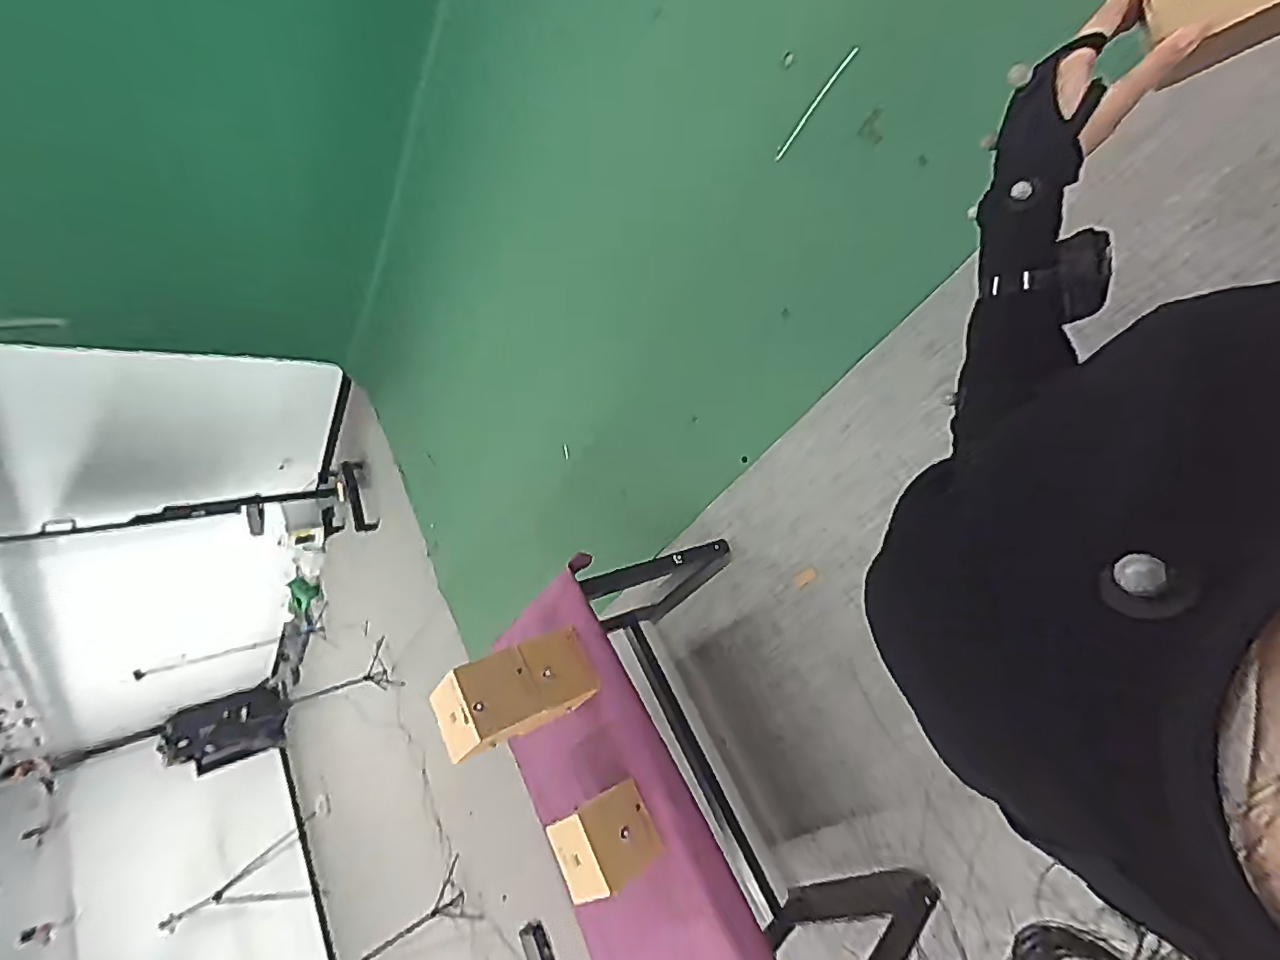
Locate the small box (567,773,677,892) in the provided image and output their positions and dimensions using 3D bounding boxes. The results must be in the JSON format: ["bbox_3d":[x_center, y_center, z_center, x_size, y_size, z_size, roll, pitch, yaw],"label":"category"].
[{"bbox_3d":[-0.037,0.815,1.260,0.179,0.176,0.168,-50,60,40],"label":"small box"}]

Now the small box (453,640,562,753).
[{"bbox_3d":[-0.310,0.503,1.267,0.179,0.176,0.168,-50,62,39],"label":"small box"}]

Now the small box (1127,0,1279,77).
[{"bbox_3d":[0.426,-0.400,0.346,0.179,0.176,0.168,-11,104,47],"label":"small box"}]

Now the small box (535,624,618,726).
[{"bbox_3d":[-0.188,0.486,1.376,0.168,0.176,0.179,-51,61,38],"label":"small box"}]
